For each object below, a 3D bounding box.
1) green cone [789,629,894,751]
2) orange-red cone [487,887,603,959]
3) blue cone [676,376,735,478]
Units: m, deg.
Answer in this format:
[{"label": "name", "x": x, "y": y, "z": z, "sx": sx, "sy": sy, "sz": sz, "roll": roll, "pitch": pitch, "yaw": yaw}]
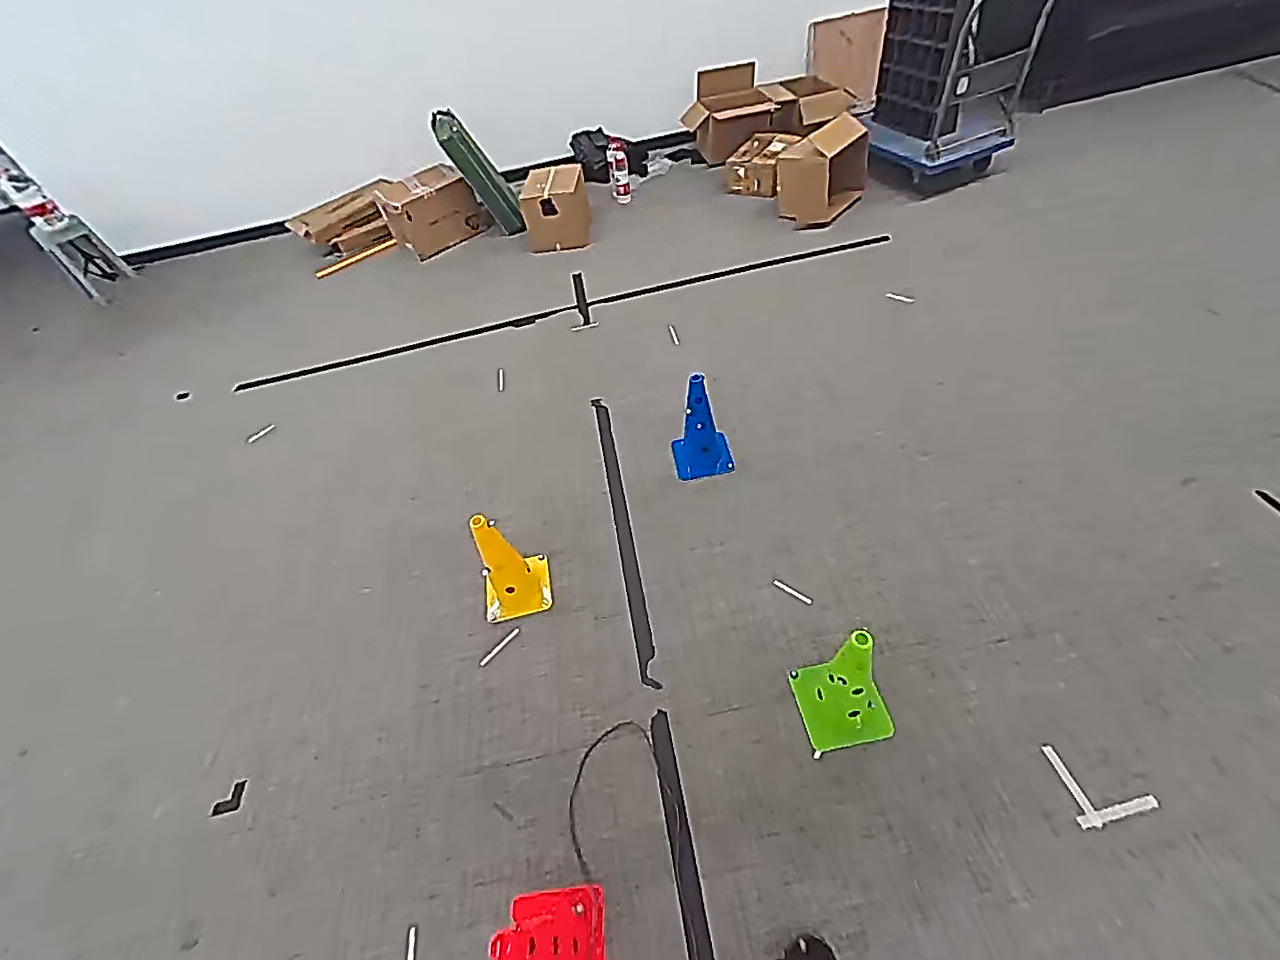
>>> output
[{"label": "green cone", "x": 0.469, "y": 0.436, "z": 1.203, "sx": 0.202, "sy": 0.368, "sz": 0.200, "roll": -11, "pitch": 48, "yaw": -1}, {"label": "orange-red cone", "x": -0.199, "y": 0.841, "z": 0.973, "sx": 0.199, "sy": 0.360, "sz": 0.198, "roll": -10, "pitch": 47, "yaw": 3}, {"label": "blue cone", "x": 0.213, "y": -0.193, "z": 1.823, "sx": 0.192, "sy": 0.380, "sz": 0.193, "roll": -9, "pitch": 48, "yaw": 1}]
